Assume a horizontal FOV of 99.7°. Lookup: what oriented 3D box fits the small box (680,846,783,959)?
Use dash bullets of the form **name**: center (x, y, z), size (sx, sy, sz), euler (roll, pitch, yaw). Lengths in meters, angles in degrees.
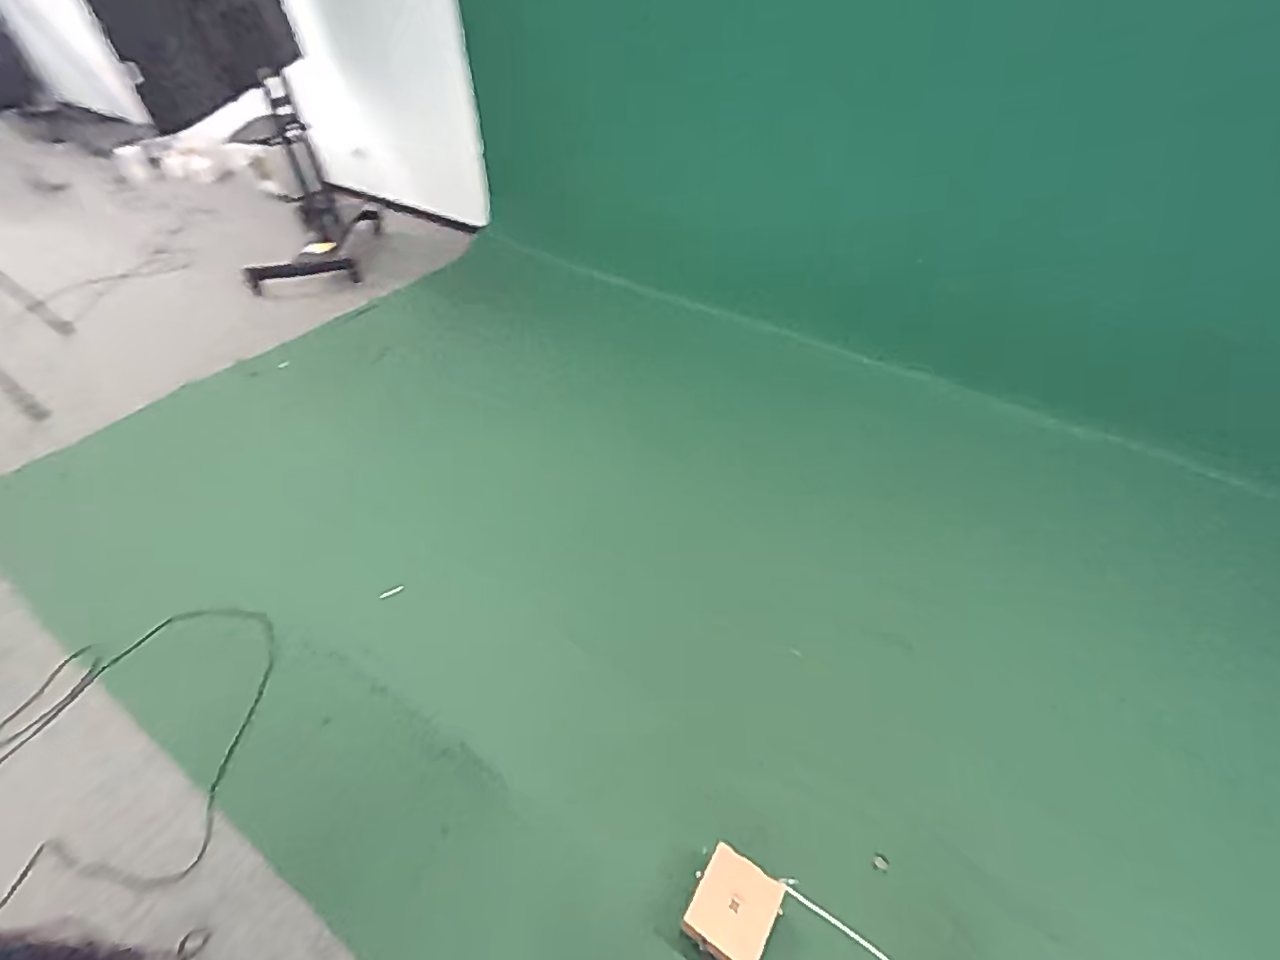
- **small box**: center (0.200, 0.982, 1.220), size (0.168, 0.176, 0.179), euler (26, 49, 22)
